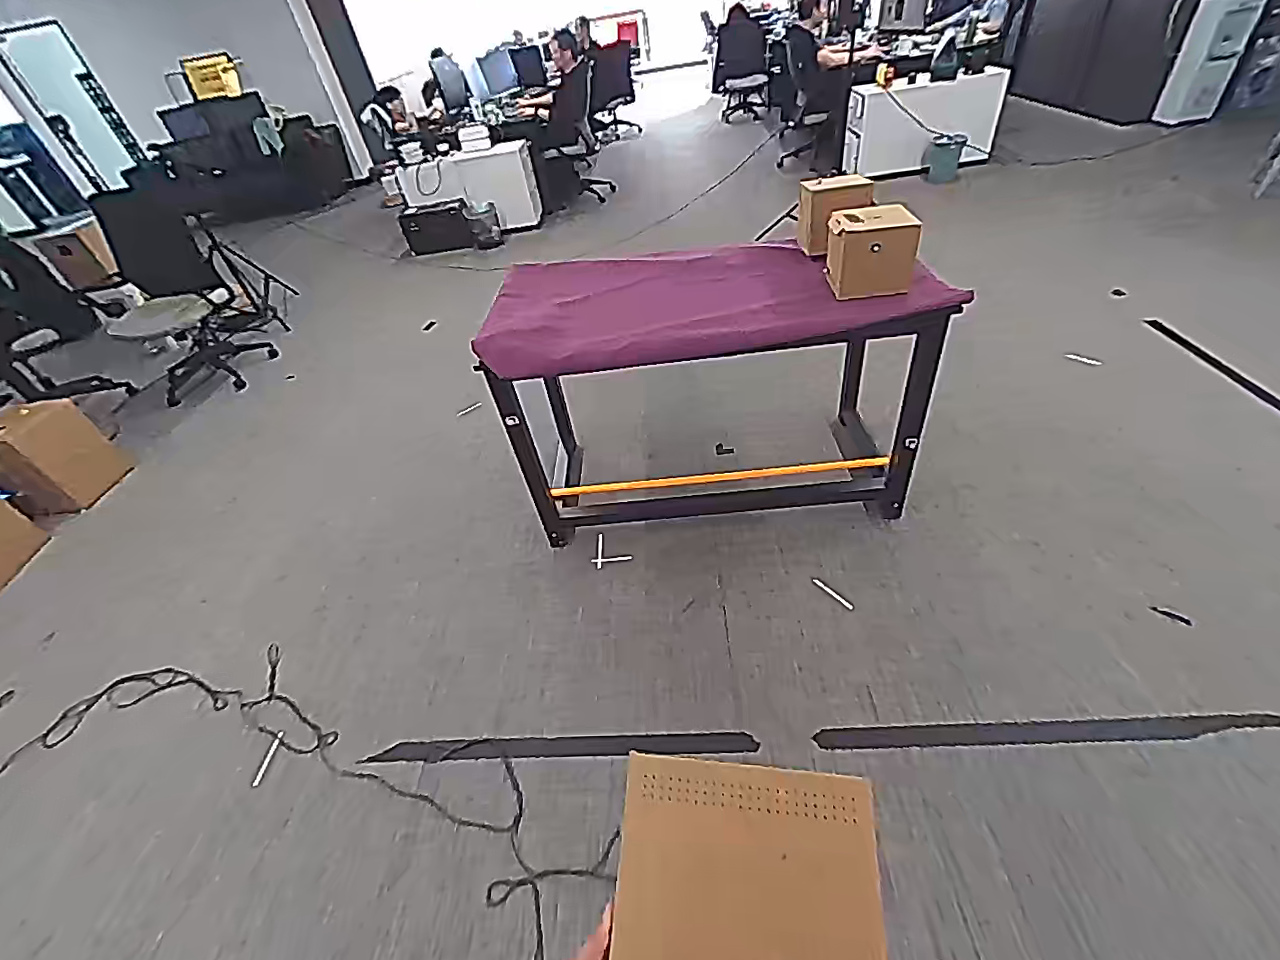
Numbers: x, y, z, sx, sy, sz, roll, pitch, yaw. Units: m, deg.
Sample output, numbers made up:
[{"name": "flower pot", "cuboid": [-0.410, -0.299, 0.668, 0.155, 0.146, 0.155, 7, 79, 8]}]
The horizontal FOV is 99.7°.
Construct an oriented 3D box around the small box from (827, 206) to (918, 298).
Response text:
[{"name": "small box", "cuboid": [0.580, -0.577, 1.376, 0.179, 0.176, 0.168, -4, 41, 7]}]
